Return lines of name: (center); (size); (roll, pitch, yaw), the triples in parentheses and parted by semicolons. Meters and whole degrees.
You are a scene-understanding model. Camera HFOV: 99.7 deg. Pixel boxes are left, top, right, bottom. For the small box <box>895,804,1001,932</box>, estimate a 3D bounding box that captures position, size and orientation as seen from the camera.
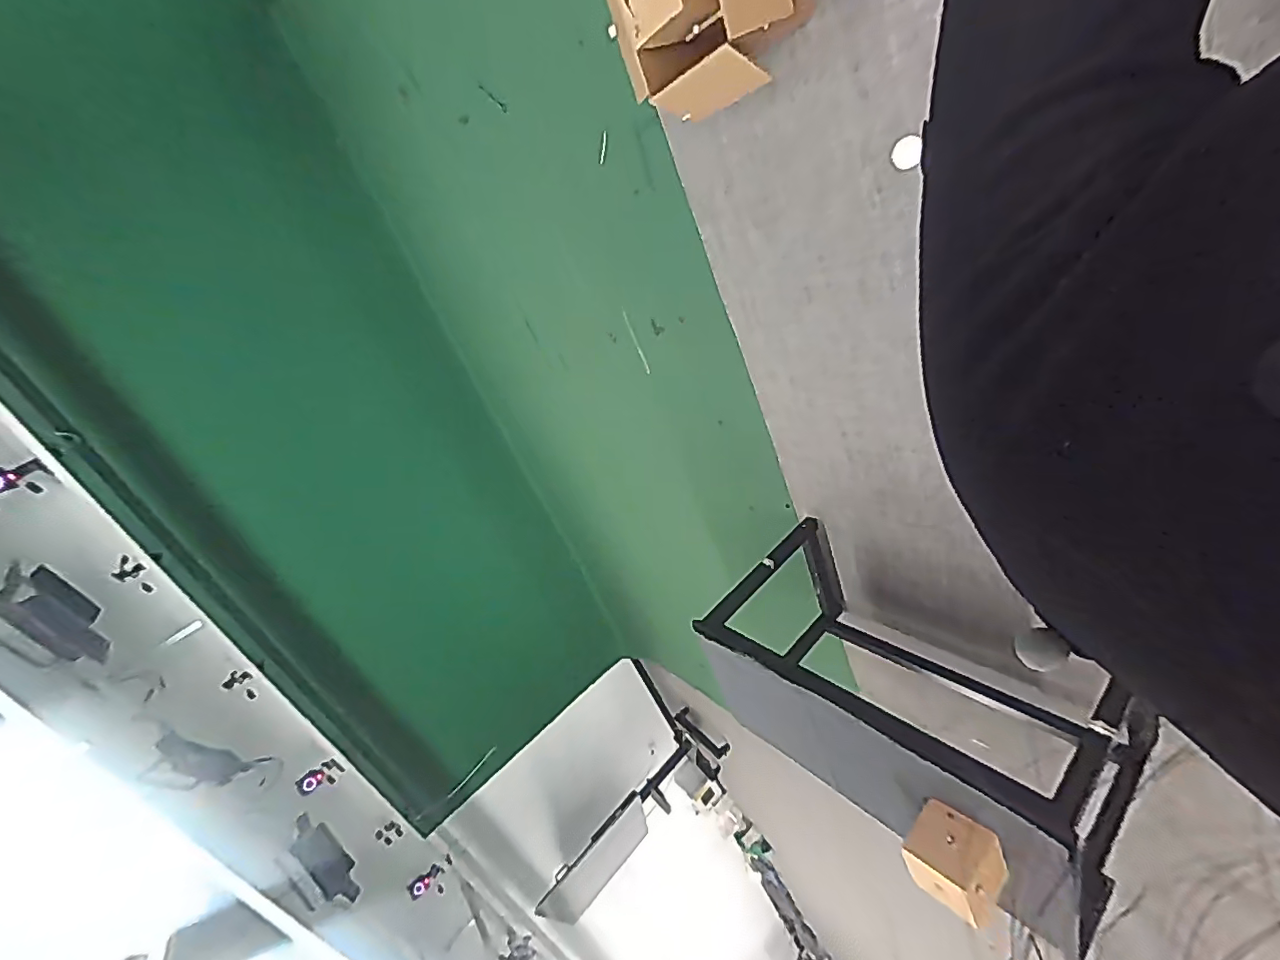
small box: (0.793, 0.984, 1.388); (0.168, 0.176, 0.179); (10, 132, 57)
